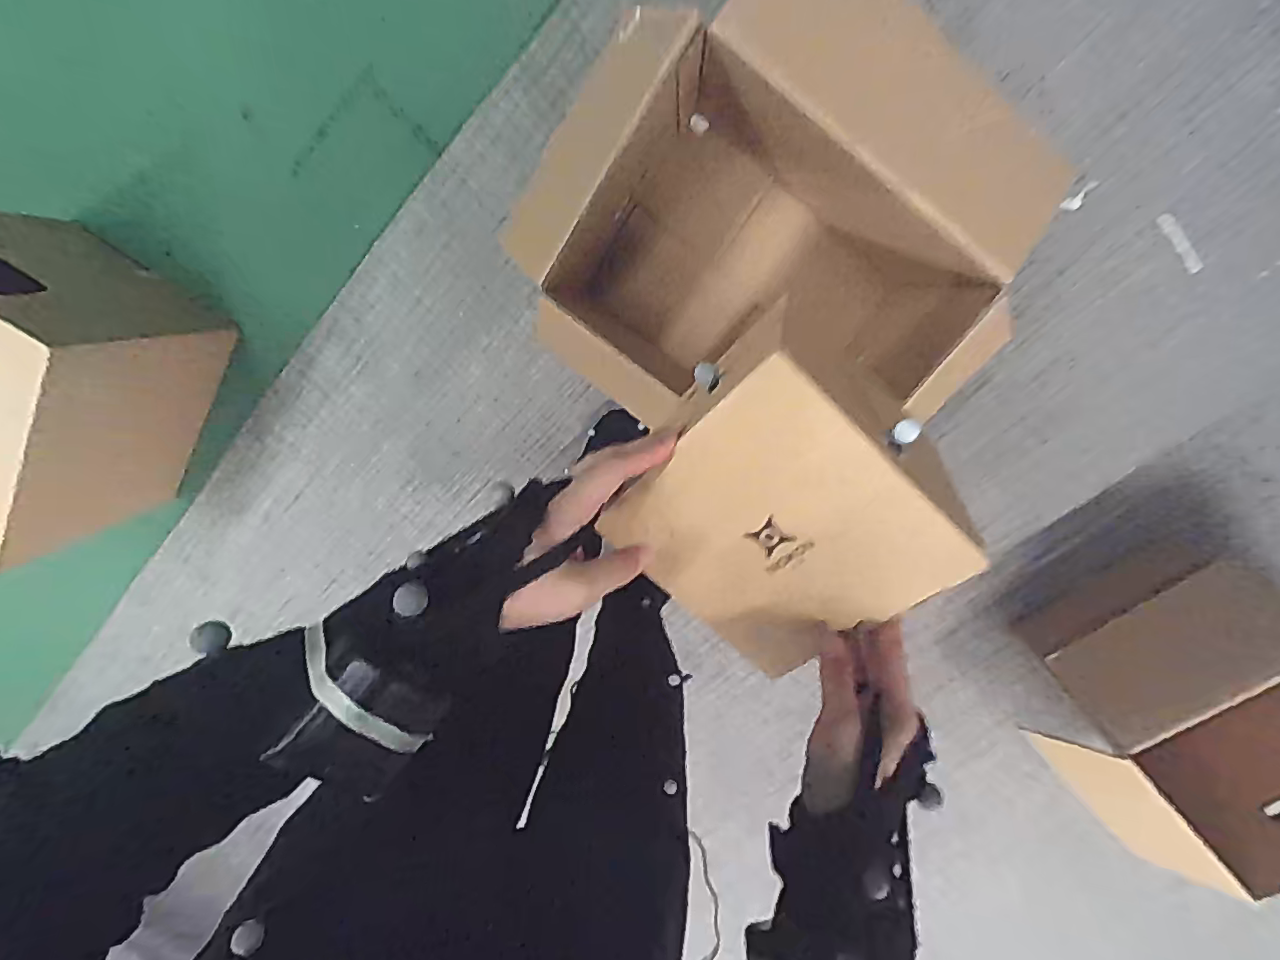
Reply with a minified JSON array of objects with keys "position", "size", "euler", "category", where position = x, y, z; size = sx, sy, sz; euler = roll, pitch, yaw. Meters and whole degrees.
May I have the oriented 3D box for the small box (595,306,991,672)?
[{"position":[0.102,-0.005,0.394],"size":[0.179,0.176,0.168],"euler":[42,121,-9],"category":"small box"}]
